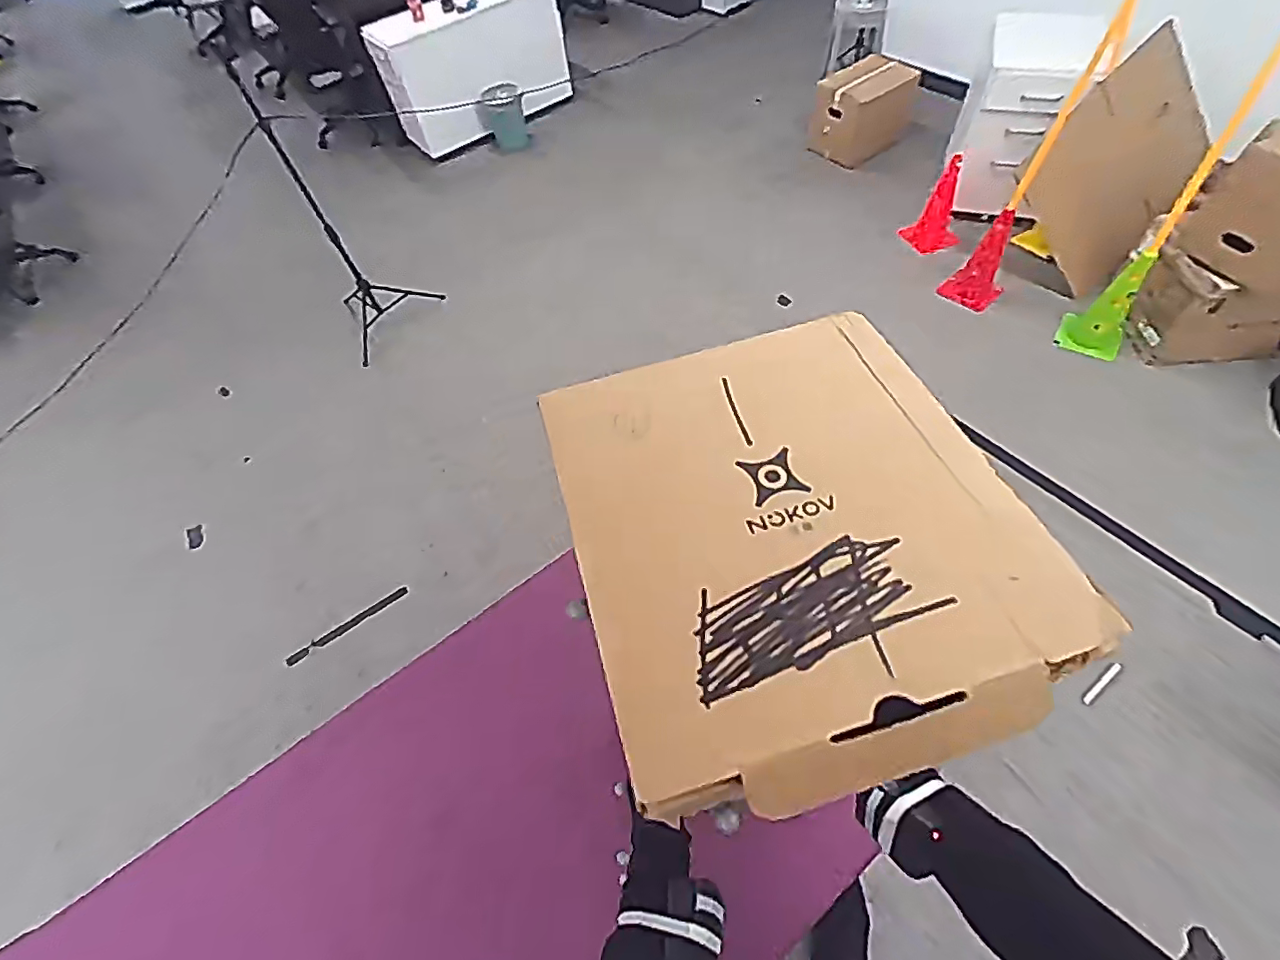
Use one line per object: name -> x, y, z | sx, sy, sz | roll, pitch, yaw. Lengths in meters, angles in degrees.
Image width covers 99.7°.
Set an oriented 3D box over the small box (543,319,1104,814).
small box -> 0.060, 0.053, 0.282 | 0.168, 0.176, 0.179 | -16, 56, -5
